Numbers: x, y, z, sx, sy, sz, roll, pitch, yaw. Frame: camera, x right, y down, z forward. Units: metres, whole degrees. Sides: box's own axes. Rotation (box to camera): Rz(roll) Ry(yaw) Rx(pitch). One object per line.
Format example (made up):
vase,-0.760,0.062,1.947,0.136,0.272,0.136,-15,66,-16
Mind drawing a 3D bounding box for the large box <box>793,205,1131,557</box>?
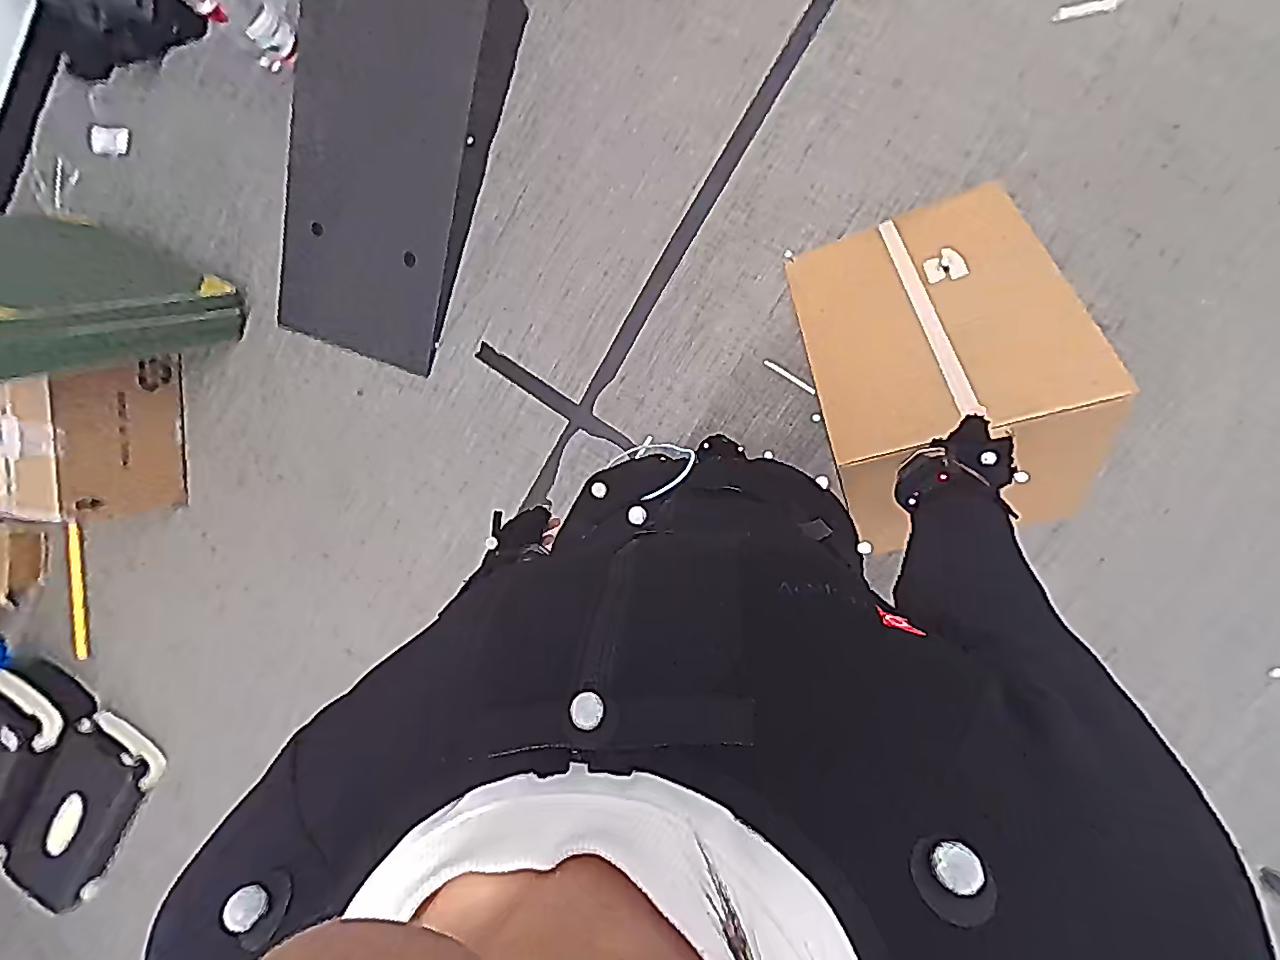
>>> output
large box,0.460,-0.139,0.862,0.320,0.320,0.408,-14,54,19
